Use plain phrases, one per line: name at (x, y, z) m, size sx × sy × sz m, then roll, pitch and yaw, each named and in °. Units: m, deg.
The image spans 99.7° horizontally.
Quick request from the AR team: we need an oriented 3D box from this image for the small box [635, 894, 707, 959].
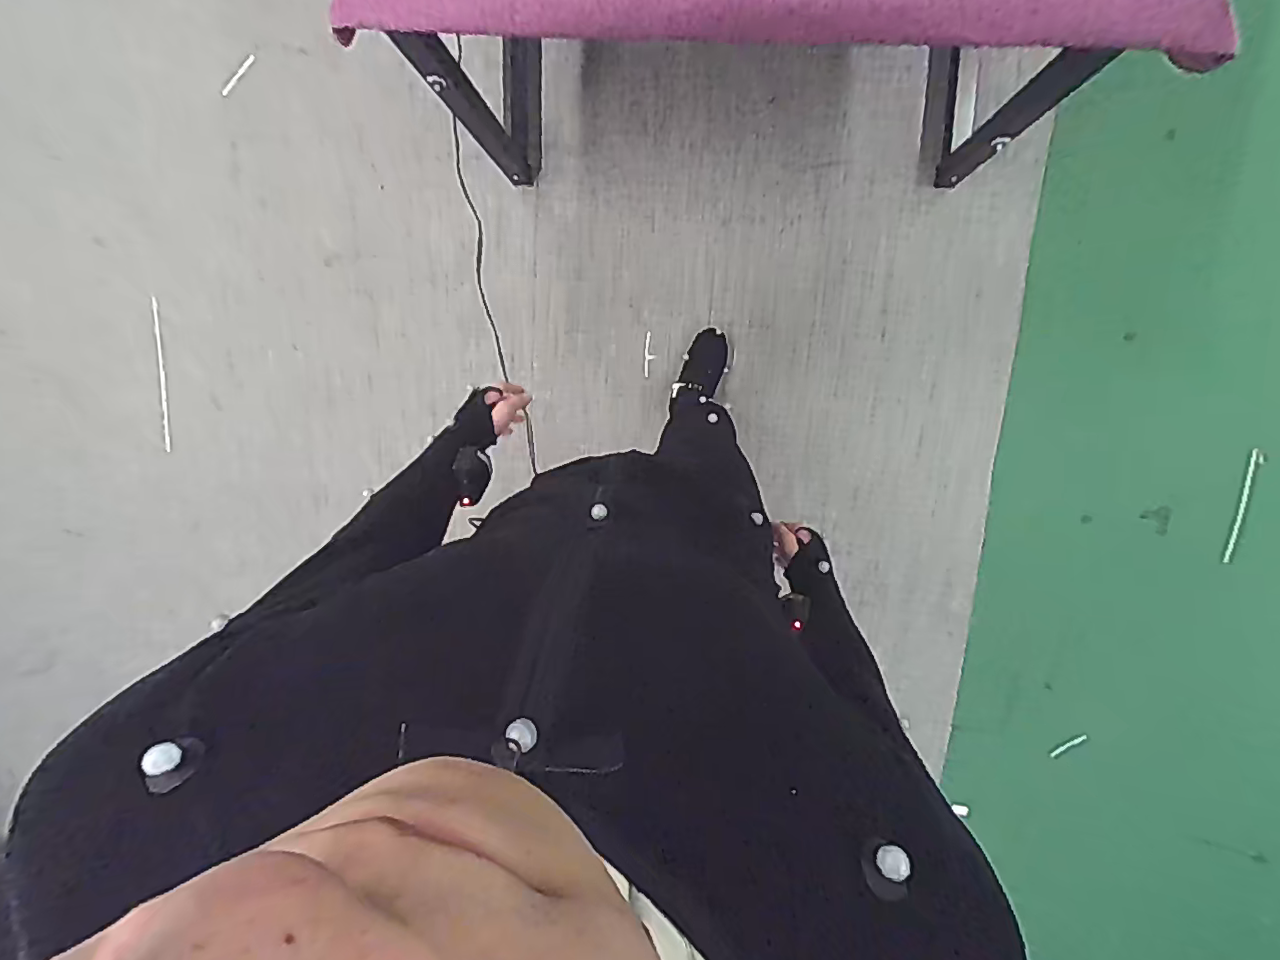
small box at (0.072, 1.154, 1.298) m, size 0.168 × 0.176 × 0.179 m, roll 5°, pitch 99°, yaw 5°
